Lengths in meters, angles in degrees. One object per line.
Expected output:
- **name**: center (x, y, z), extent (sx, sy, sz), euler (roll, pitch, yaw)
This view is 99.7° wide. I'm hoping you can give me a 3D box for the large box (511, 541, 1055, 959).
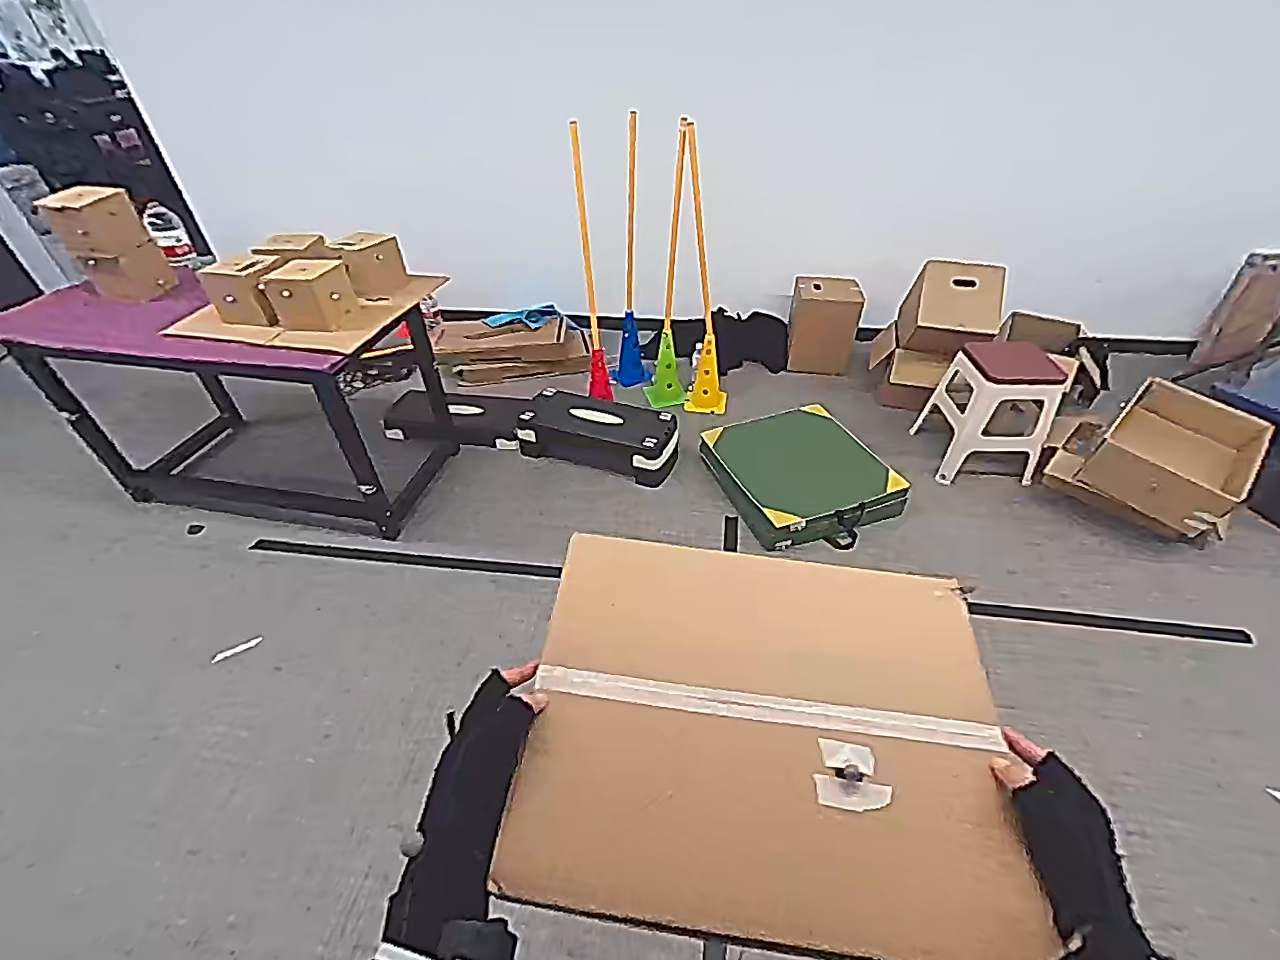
- **large box**: center (0.109, 0.298, 0.598), extent (0.408, 0.320, 0.320), euler (7, 52, 3)
